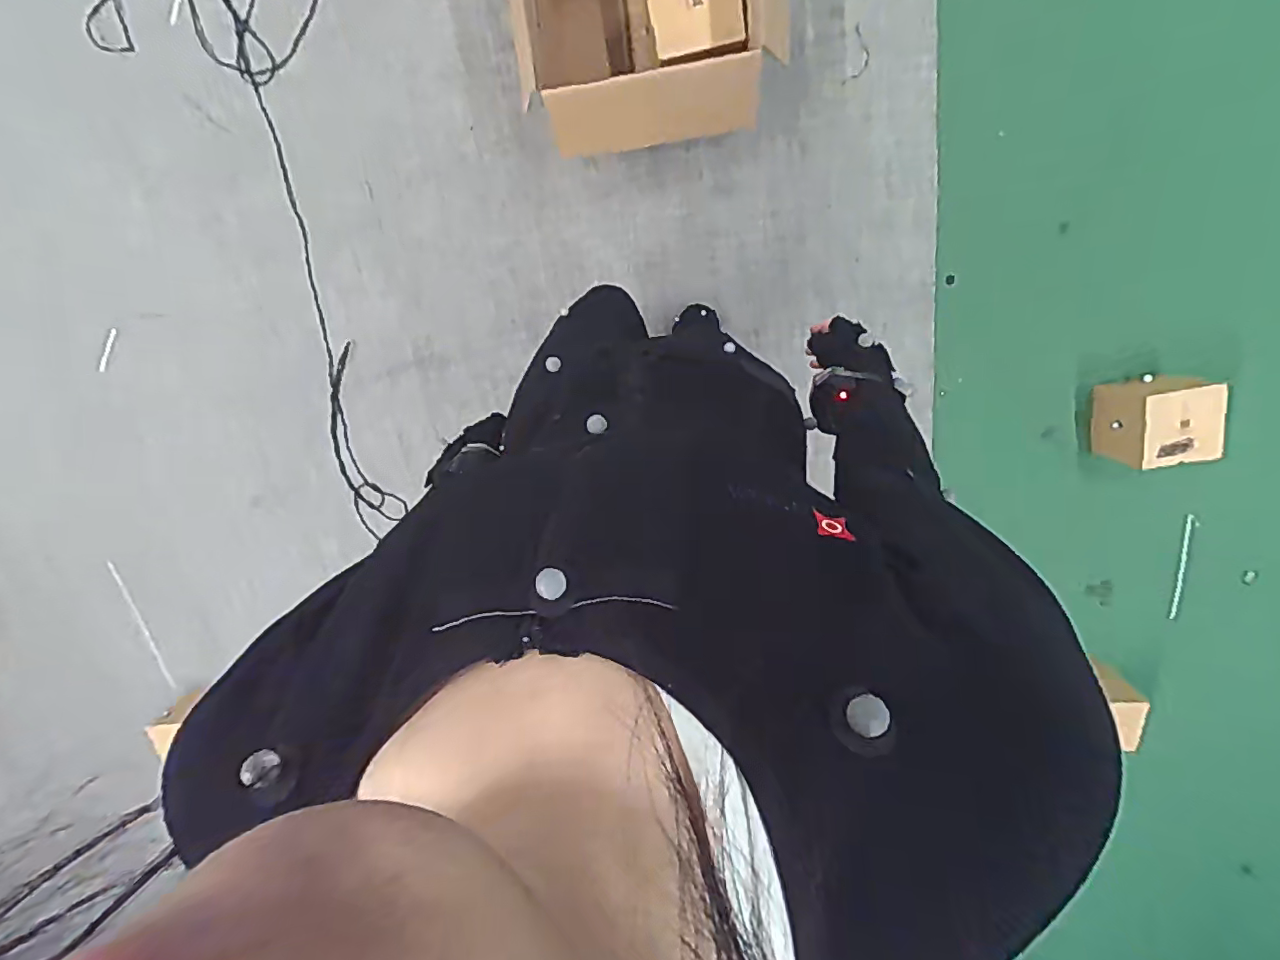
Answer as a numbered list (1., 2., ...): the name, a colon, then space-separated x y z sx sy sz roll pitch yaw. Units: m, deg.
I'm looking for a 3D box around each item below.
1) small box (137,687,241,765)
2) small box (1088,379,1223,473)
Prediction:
1. small box: -1.493 0.815 1.802 0.179 0.176 0.168 -8 108 7
2. small box: 1.213 -0.133 1.288 0.168 0.176 0.179 -9 106 7
